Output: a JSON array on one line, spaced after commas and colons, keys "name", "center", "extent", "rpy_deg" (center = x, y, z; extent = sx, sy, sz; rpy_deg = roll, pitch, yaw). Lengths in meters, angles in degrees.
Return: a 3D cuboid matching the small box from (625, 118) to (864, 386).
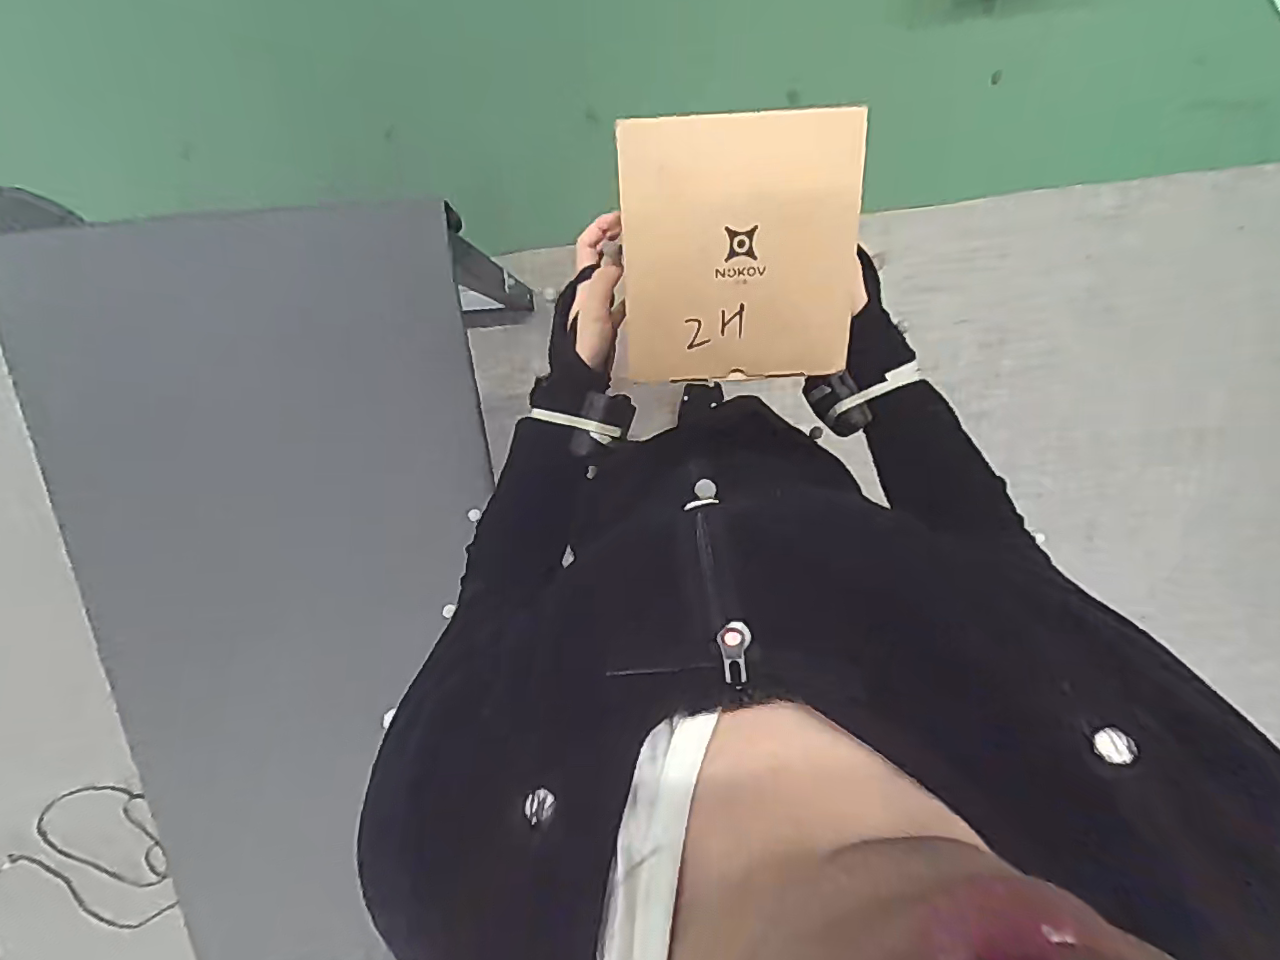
[{"name": "small box", "center": [0.074, -0.182, 0.464], "extent": [0.168, 0.176, 0.179], "rpy_deg": [-2, 109, 3]}]
